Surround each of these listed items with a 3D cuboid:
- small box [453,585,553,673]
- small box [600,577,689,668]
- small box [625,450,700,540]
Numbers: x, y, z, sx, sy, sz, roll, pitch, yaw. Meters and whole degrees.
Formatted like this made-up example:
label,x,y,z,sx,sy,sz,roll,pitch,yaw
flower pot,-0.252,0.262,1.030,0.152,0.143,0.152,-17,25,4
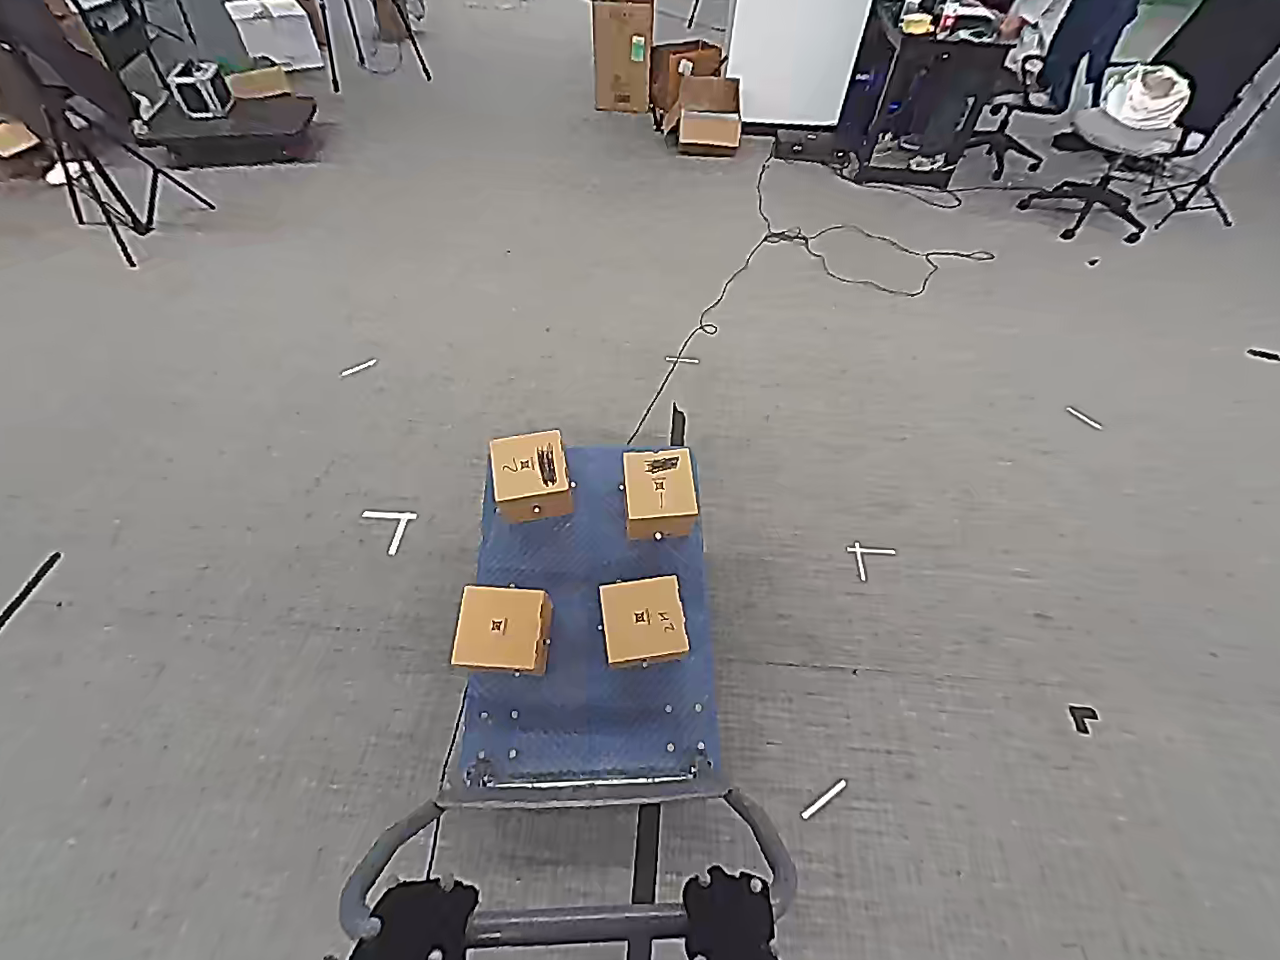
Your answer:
label,x,y,z,sx,sy,sz,roll,pitch,yaw
small box,-0.300,0.342,1.223,0.179,0.176,0.168,4,66,-2
small box,0.008,0.330,1.237,0.179,0.176,0.168,-7,67,-4
small box,0.050,0.041,1.365,0.168,0.176,0.179,-4,67,-3
